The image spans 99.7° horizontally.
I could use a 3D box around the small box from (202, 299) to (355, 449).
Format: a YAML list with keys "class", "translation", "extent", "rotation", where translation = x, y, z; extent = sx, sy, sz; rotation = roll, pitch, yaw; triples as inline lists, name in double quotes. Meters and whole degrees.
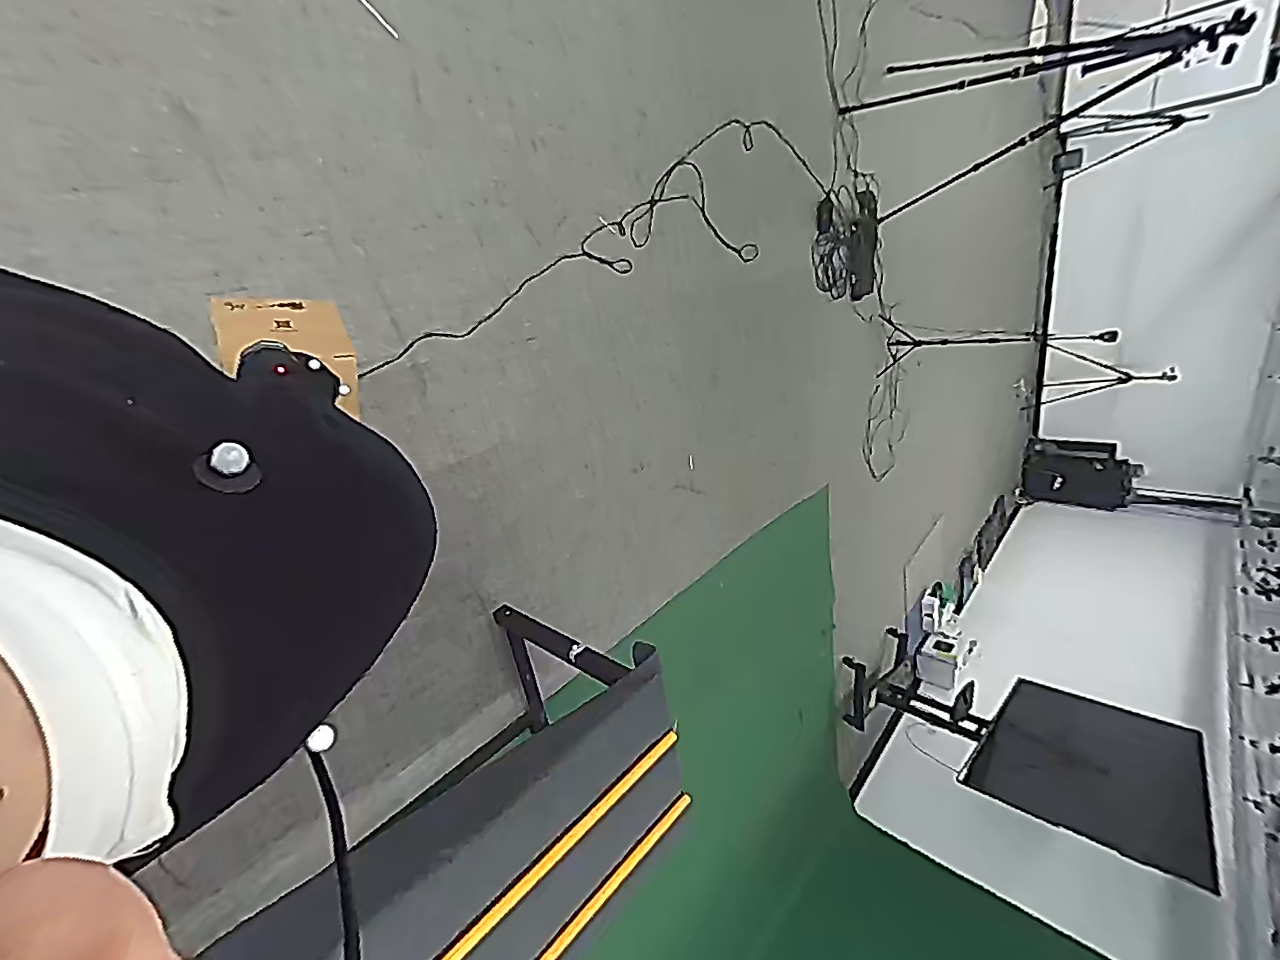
- class: "small box"
  translation: [-0.562, -0.164, 0.854]
  extent: [0.168, 0.179, 0.176]
  rotation: [-14, 141, -35]
